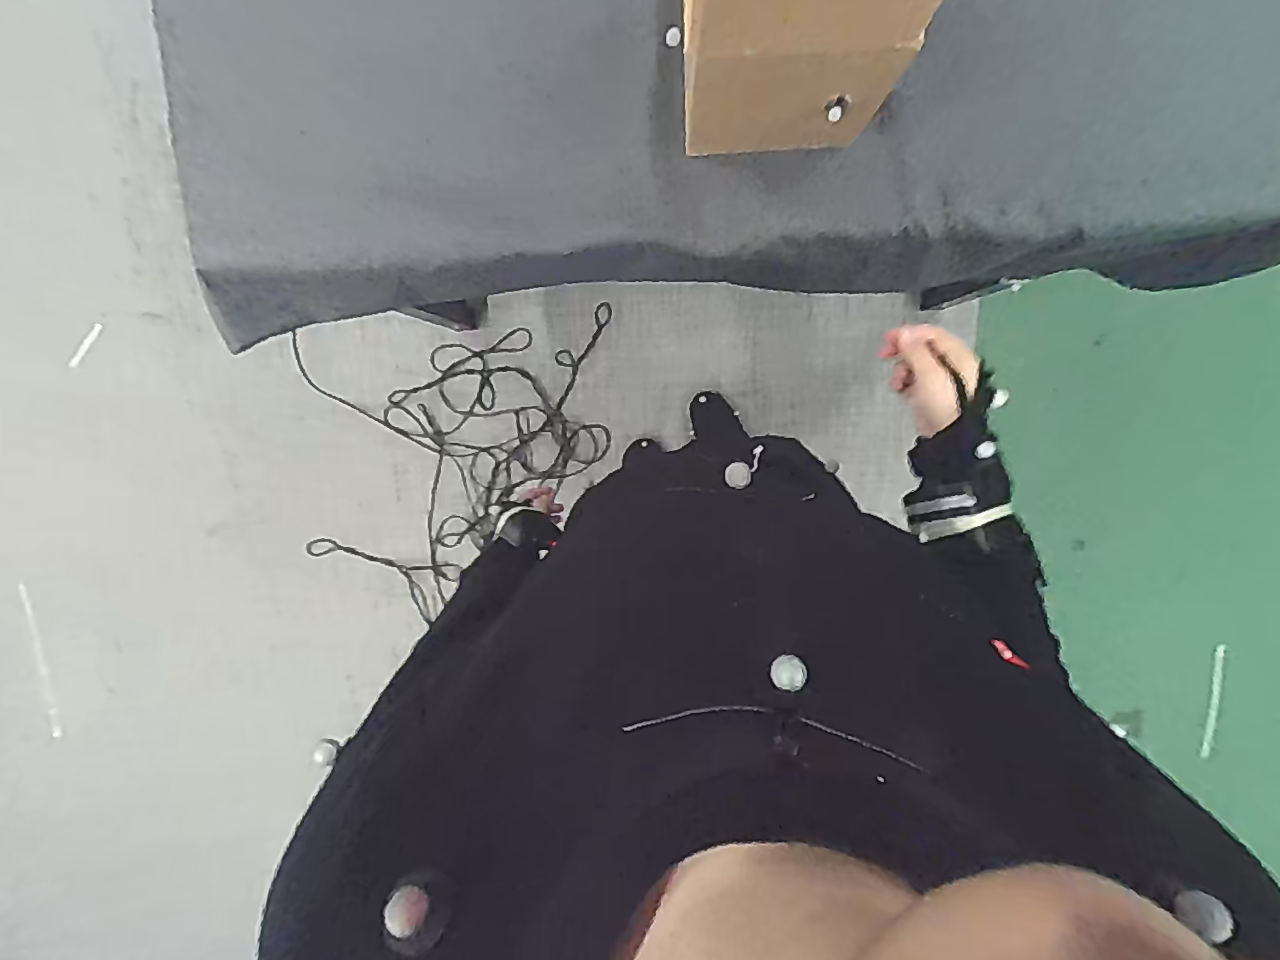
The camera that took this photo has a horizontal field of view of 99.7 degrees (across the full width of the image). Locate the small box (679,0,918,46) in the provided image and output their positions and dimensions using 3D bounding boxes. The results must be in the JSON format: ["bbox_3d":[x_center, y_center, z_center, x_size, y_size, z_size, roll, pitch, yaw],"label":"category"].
[{"bbox_3d":[0.112,-0.400,0.321,0.179,0.176,0.168,-1,97,2],"label":"small box"}]

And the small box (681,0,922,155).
[{"bbox_3d":[0.127,-0.418,0.482,0.179,0.176,0.168,-2,97,4],"label":"small box"}]
